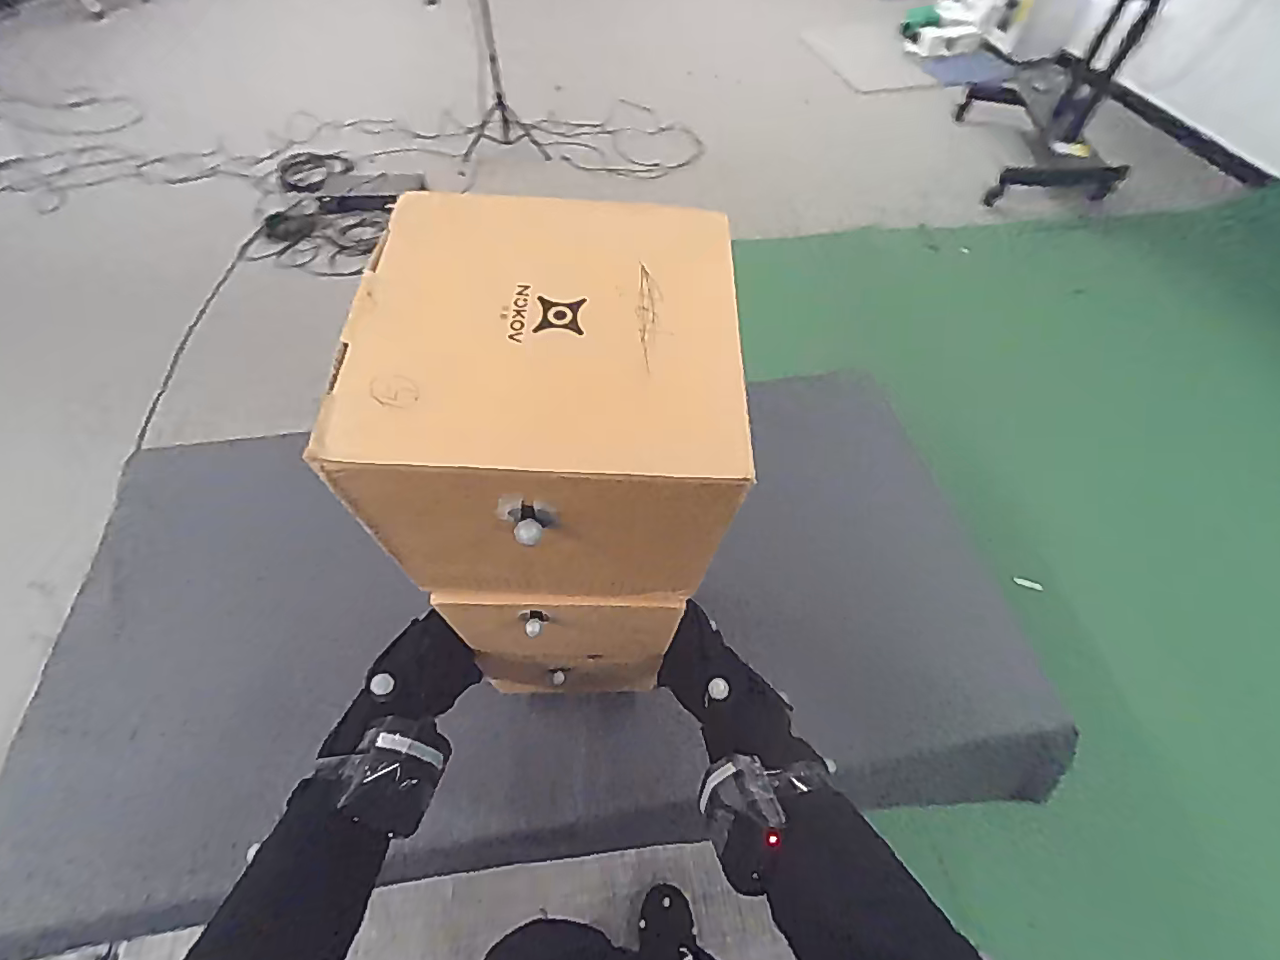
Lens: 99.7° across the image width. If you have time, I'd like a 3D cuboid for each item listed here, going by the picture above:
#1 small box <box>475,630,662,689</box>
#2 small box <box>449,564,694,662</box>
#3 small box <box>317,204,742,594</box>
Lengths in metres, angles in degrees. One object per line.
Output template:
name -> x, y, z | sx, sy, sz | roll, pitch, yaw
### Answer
small box -> -0.069, 0.134, 0.604 | 0.179, 0.176, 0.168 | 1, 59, -4
small box -> -0.054, 0.050, 0.468 | 0.168, 0.176, 0.179 | 0, 60, -5
small box -> -0.047, -0.035, 0.327 | 0.179, 0.176, 0.168 | 3, 61, -3
